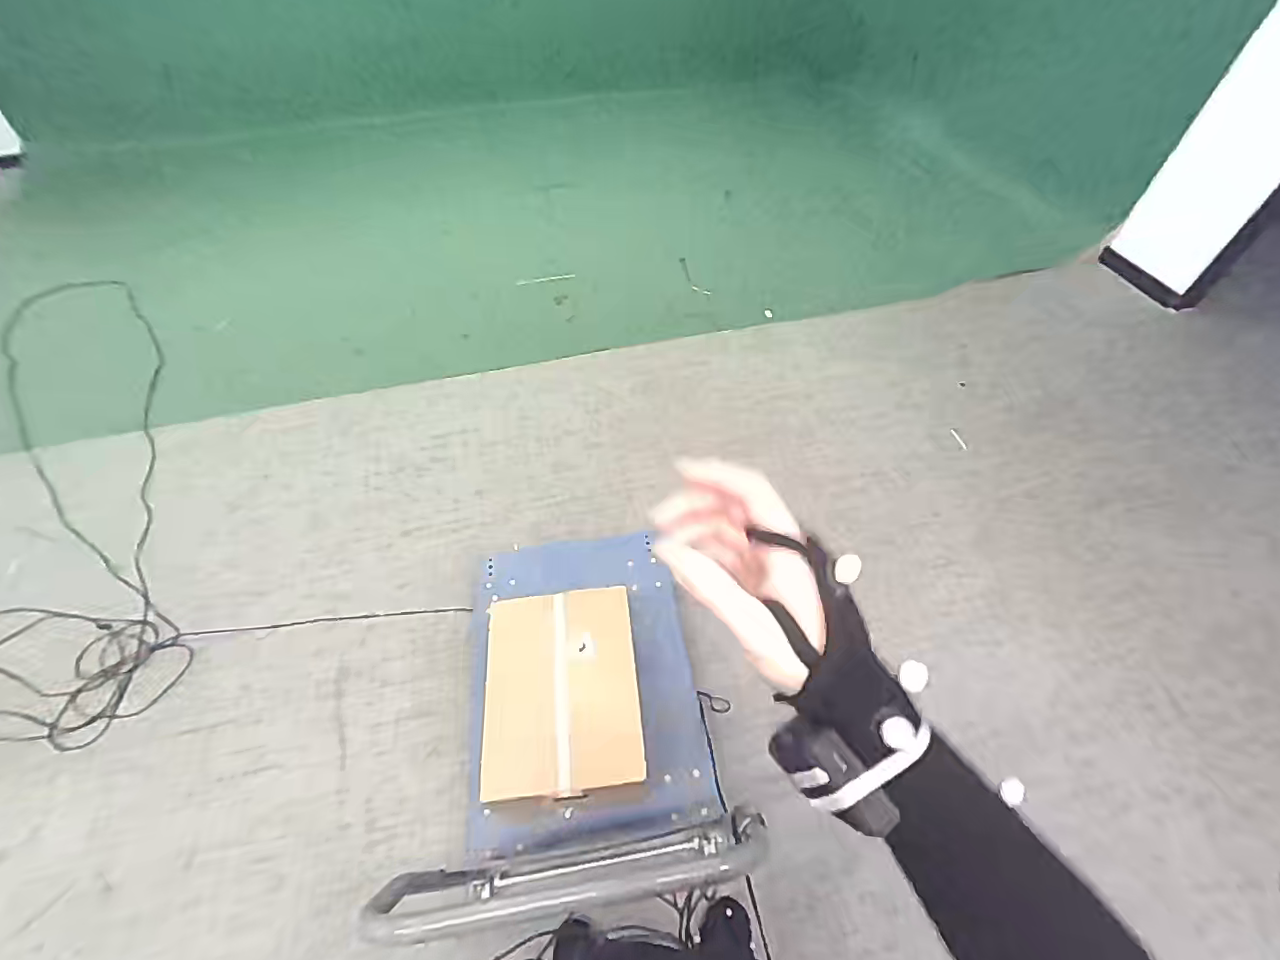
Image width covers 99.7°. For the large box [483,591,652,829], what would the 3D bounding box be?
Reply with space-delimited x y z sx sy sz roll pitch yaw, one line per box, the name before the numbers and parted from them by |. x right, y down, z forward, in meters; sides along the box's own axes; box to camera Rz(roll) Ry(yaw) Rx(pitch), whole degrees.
large box | -0.152 0.516 1.220 0.320 0.320 0.408 -6 52 -3
